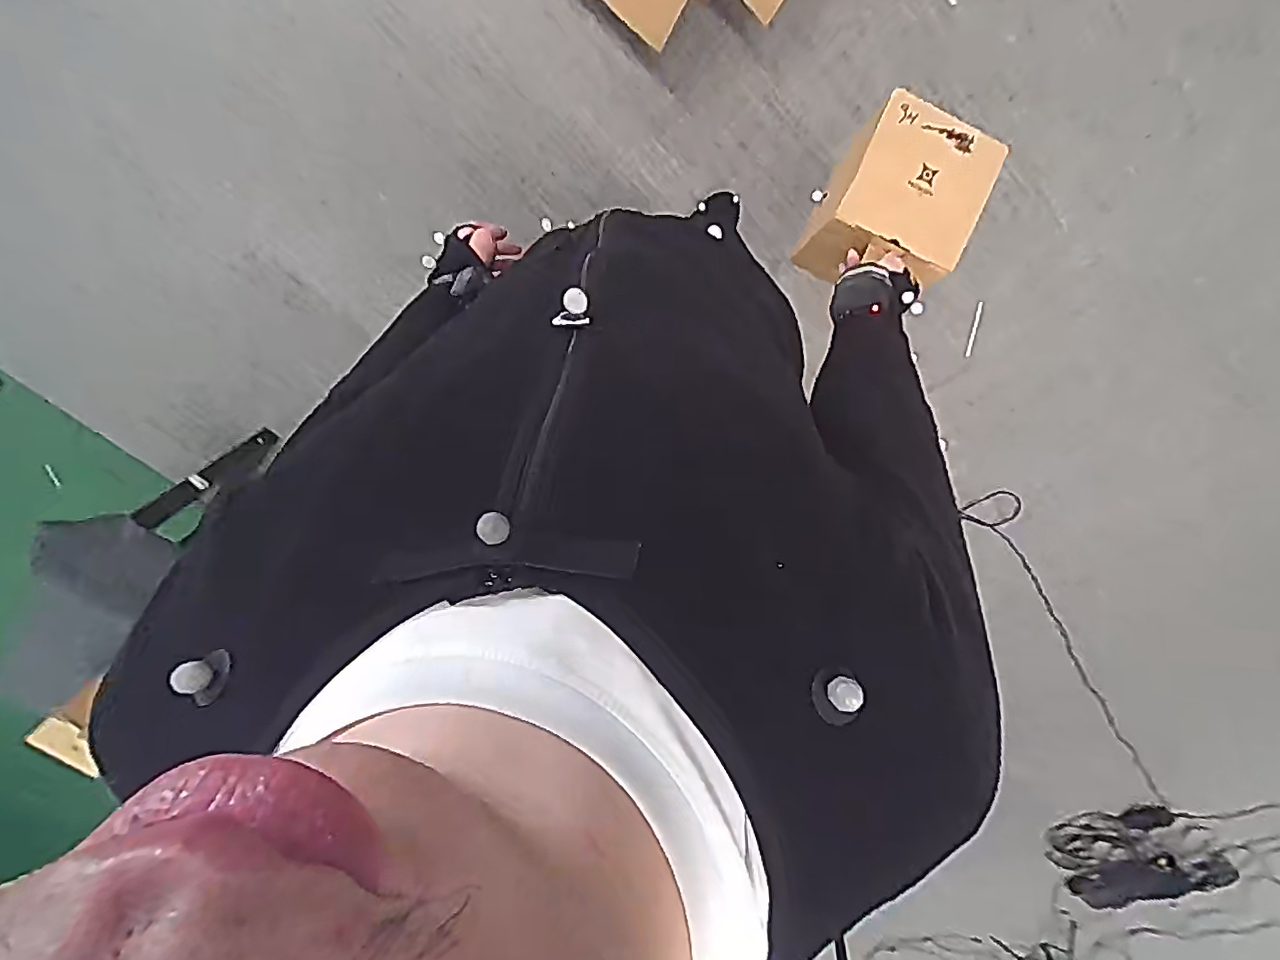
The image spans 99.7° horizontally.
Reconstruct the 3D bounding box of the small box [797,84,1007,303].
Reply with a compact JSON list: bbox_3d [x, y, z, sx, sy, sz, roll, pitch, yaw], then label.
[{"bbox_3d":[0.337,-0.370,0.738,0.168,0.176,0.179,26,90,-4],"label":"small box"}]

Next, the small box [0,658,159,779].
[{"bbox_3d":[-1.268,0.540,1.237,0.179,0.176,0.168,-31,111,22],"label":"small box"}]
